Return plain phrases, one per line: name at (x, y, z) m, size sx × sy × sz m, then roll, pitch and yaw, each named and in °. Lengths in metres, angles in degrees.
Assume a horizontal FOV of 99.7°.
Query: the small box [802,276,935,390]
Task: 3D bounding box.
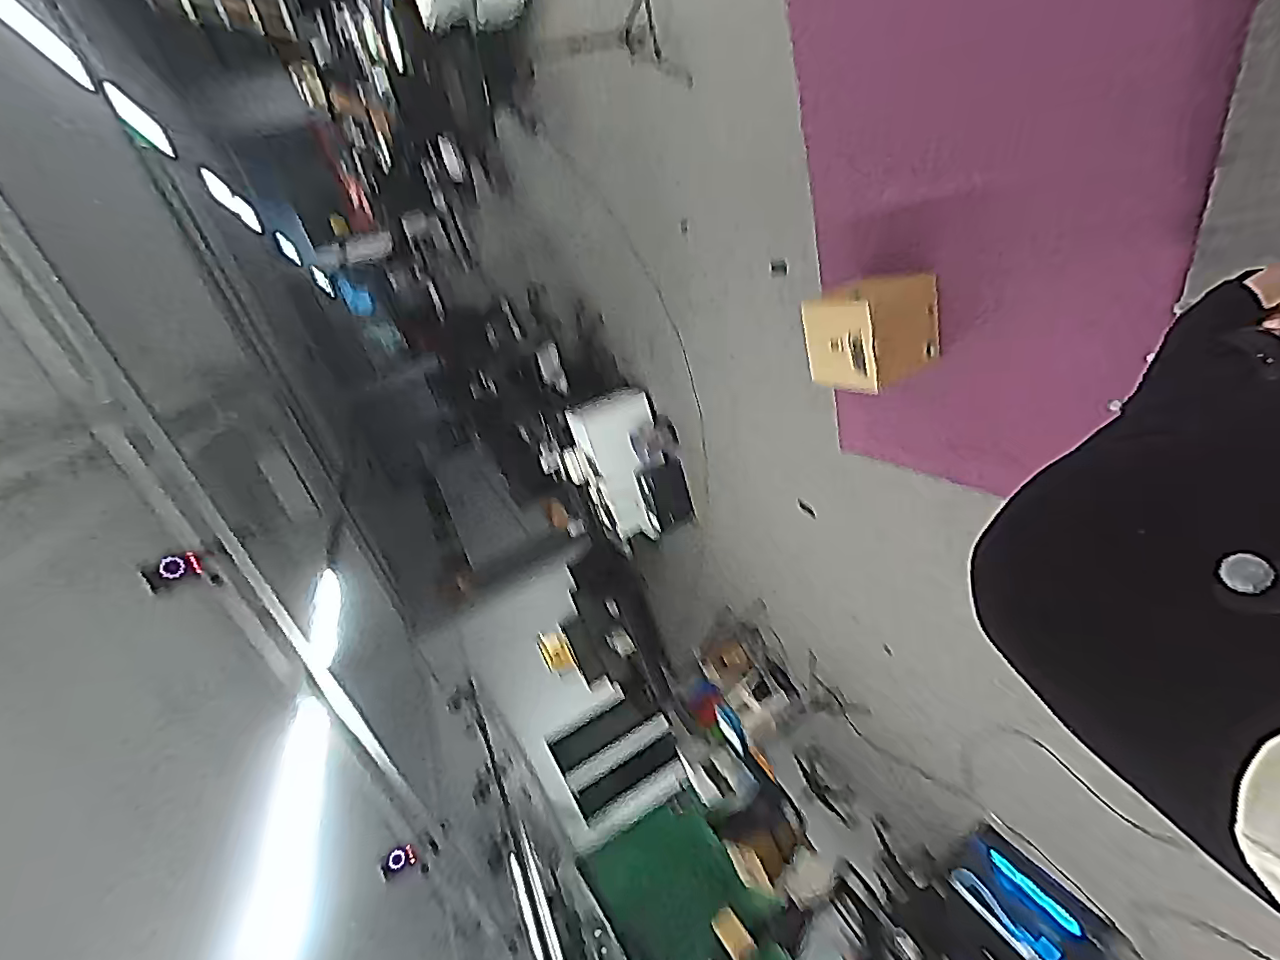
small box at (0.451, -0.290, 1.058) m, size 0.179 × 0.176 × 0.168 m, roll 31°, pitch 143°, yaw 60°
